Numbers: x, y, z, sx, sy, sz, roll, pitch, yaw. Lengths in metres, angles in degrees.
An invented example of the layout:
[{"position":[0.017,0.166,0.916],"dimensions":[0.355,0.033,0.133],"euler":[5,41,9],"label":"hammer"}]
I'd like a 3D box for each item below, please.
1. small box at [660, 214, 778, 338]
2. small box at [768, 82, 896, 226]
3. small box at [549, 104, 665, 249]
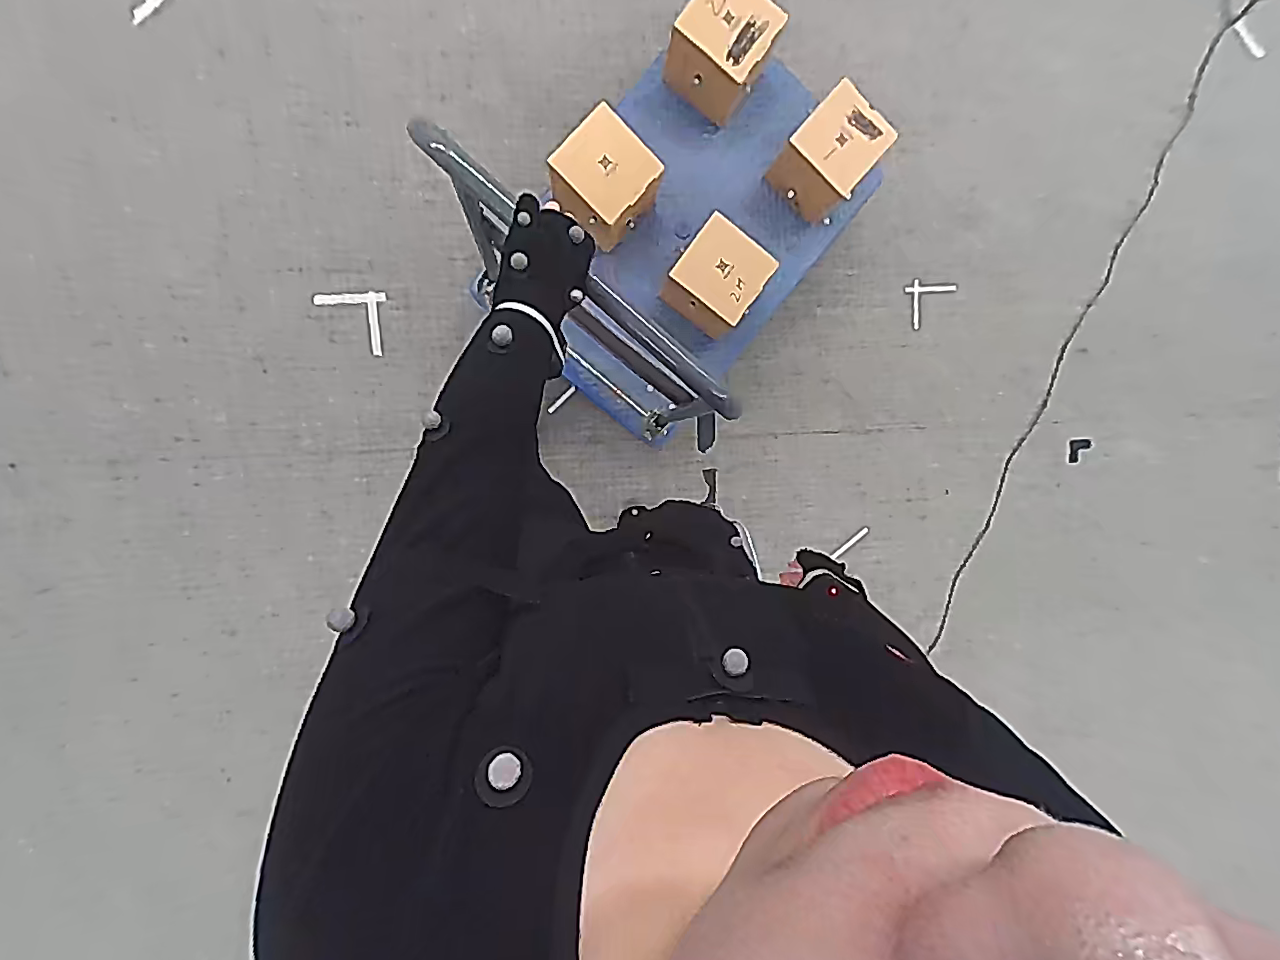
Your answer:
[{"position":[0.164,-0.436,1.191],"dimensions":[0.179,0.176,0.168],"euler":[37,90,-8],"label":"small box"},{"position":[0.412,-0.706,1.194],"dimensions":[0.168,0.176,0.179],"euler":[42,91,-8],"label":"small box"},{"position":[-0.075,-0.629,1.149],"dimensions":[0.179,0.176,0.168],"euler":[43,89,-9],"label":"small box"}]
